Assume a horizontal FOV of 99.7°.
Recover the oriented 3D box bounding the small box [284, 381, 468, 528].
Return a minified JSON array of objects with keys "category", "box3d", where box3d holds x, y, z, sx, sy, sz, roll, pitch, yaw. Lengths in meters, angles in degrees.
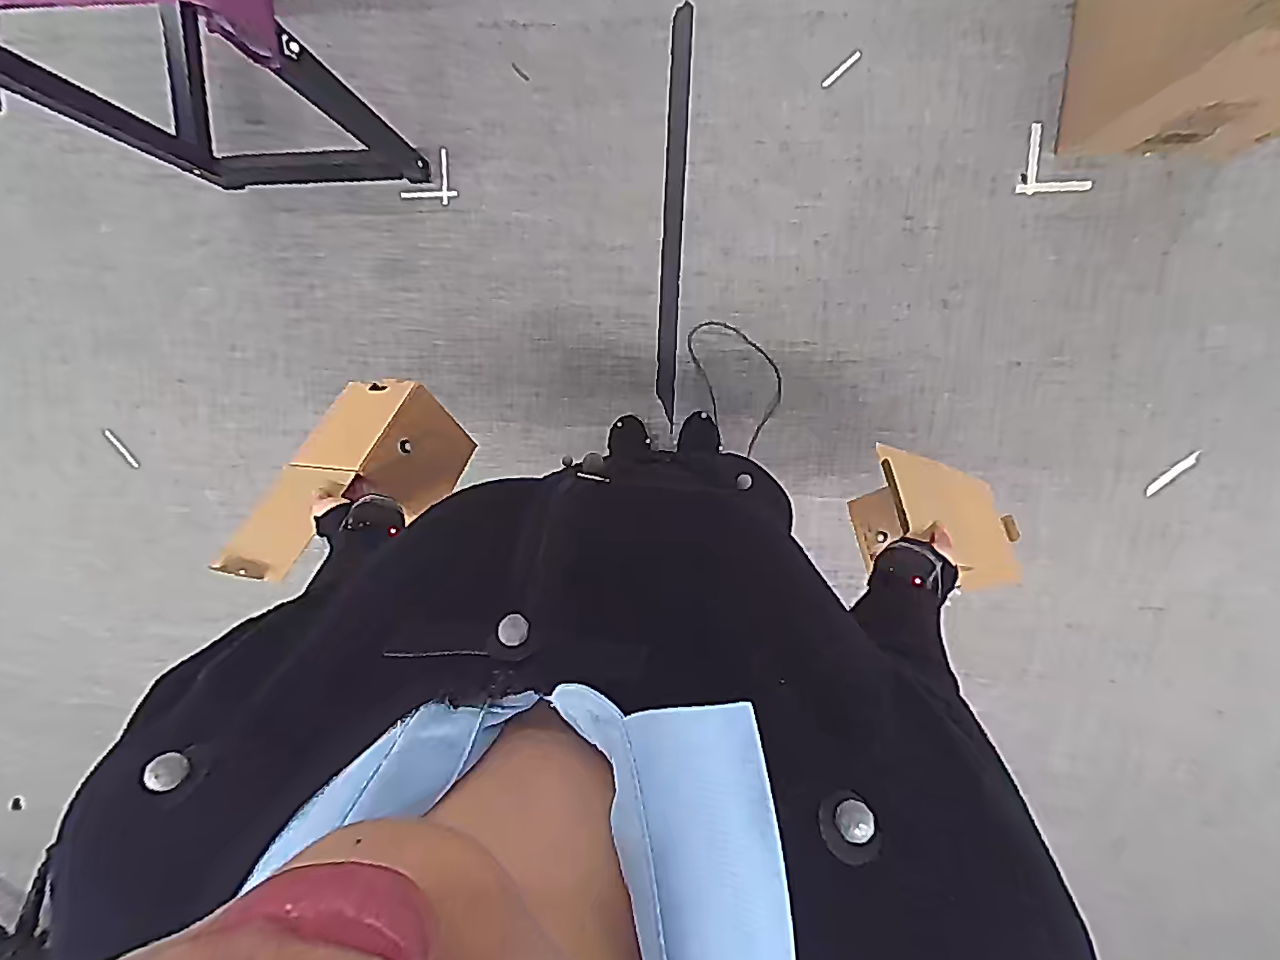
[{"category":"small box","box3d":[-0.412,-0.040,0.877,0.168,0.176,0.179,5,57,25]}]
